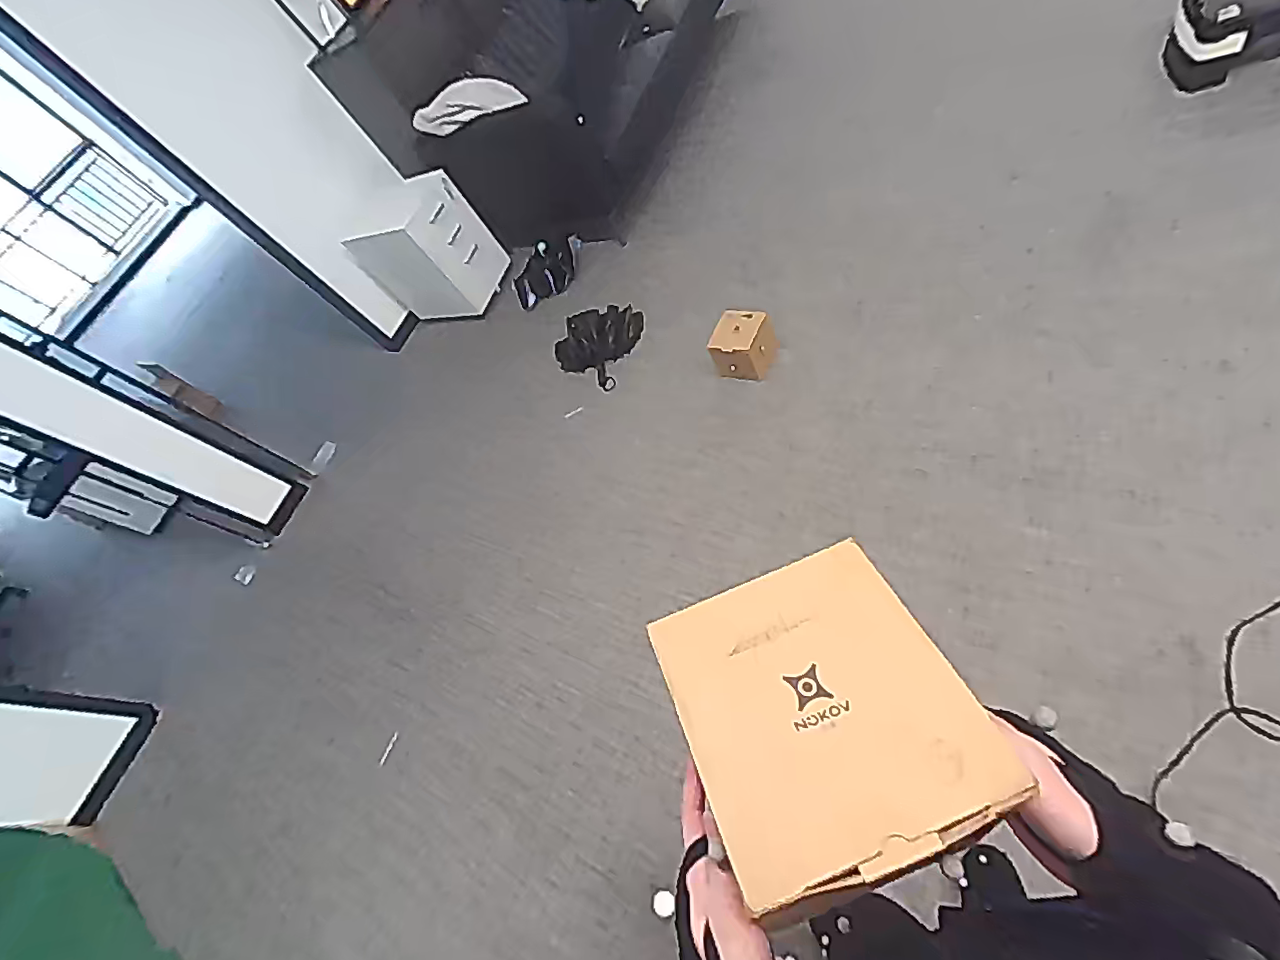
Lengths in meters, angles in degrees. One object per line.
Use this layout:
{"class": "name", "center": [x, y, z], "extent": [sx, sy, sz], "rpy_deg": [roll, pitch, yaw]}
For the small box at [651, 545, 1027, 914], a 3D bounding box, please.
{"class": "small box", "center": [0.125, 0.186, 0.396], "extent": [0.168, 0.176, 0.179], "rpy_deg": [-22, 46, -3]}
